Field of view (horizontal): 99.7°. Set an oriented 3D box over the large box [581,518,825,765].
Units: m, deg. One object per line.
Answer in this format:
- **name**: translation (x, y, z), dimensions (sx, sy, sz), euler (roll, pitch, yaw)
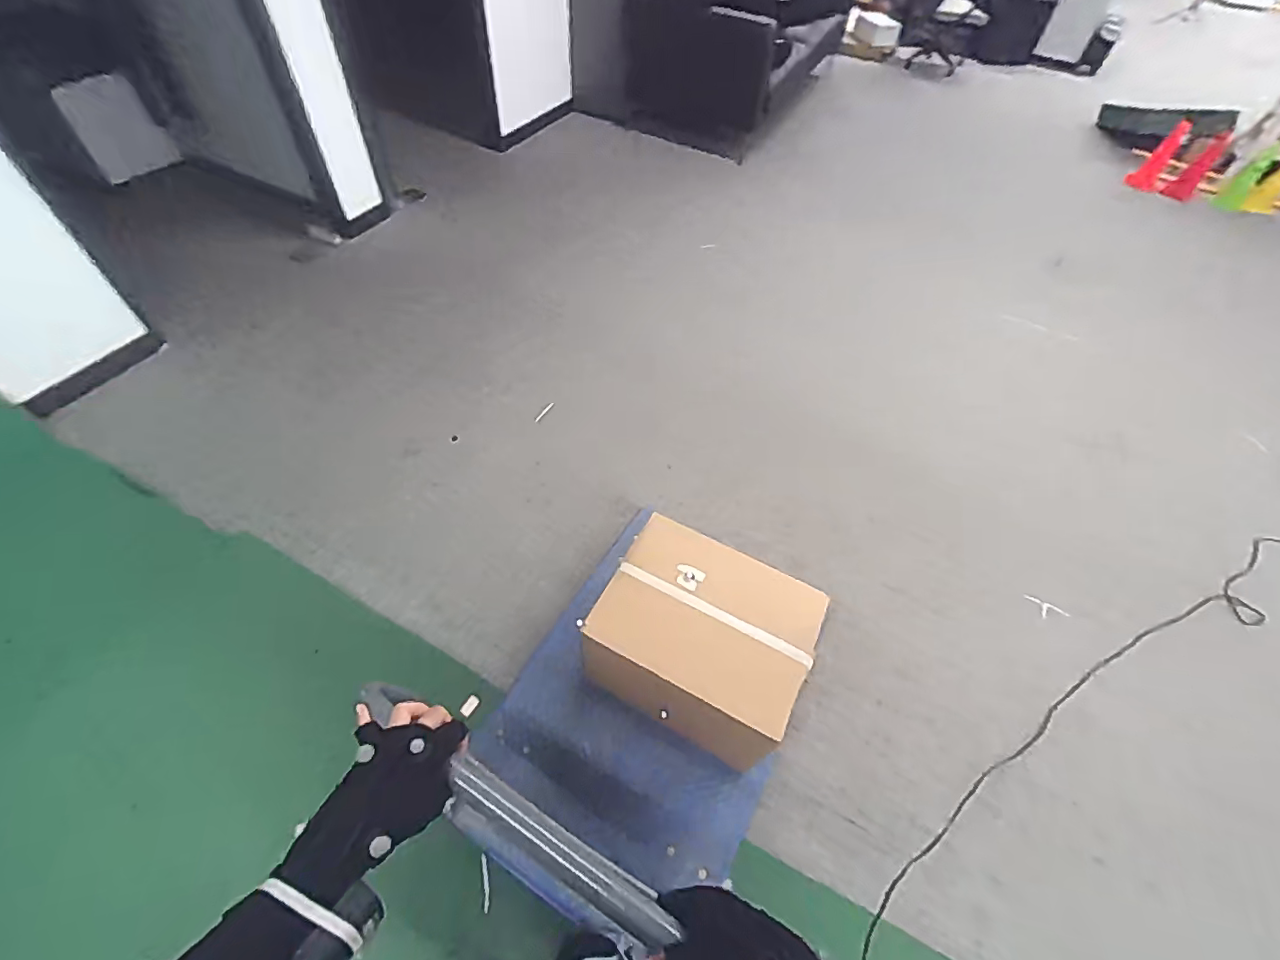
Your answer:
- **large box**: translation (0.127, 0.351, 1.173), dimensions (0.408, 0.320, 0.320), euler (24, 54, 15)
